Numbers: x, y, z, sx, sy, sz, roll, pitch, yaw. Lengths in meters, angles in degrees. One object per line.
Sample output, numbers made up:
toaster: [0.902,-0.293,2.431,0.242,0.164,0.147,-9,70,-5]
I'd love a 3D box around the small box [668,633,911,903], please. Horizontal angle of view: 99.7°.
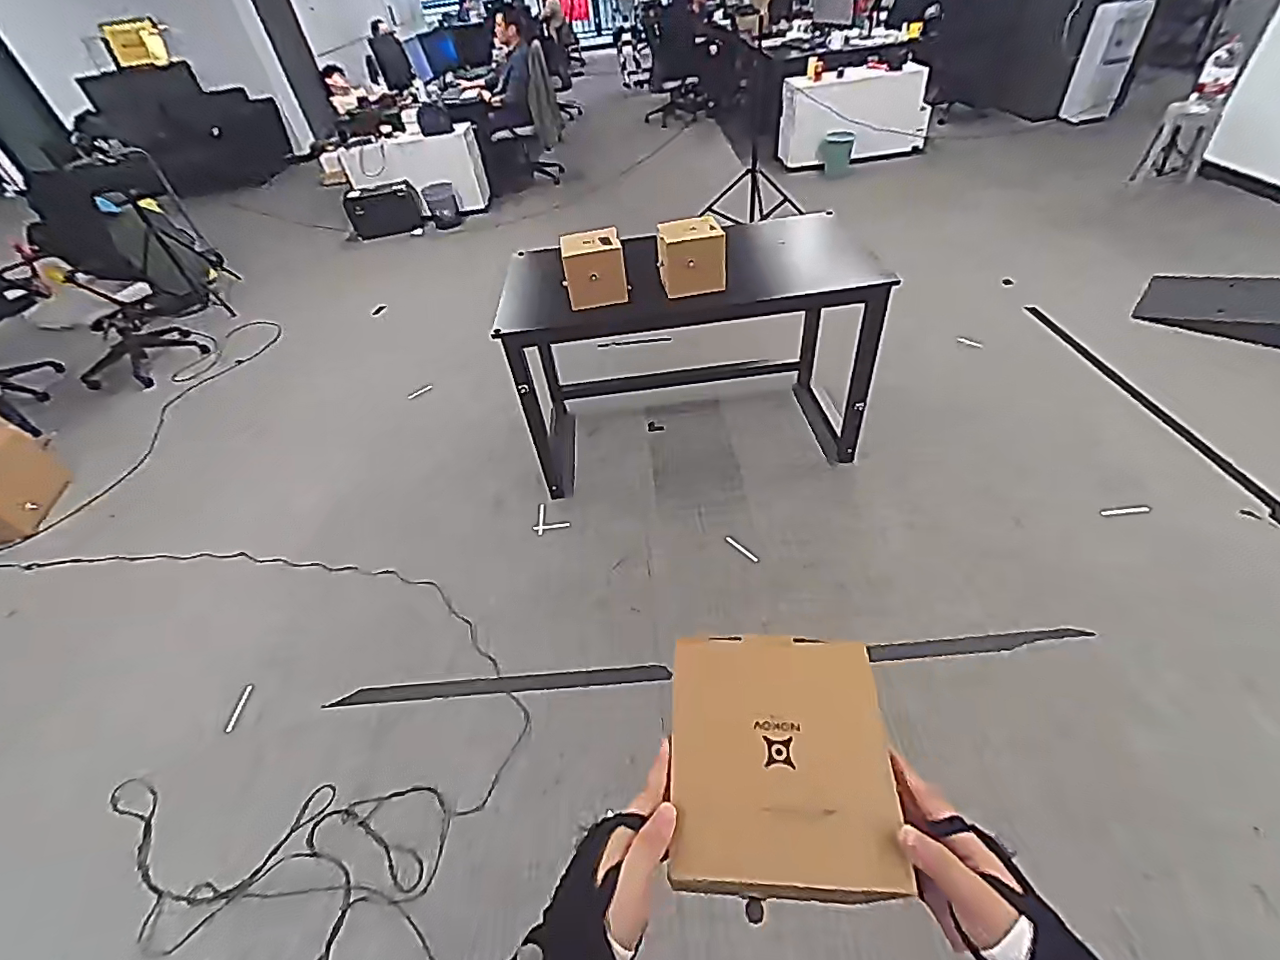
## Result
small box: [0.110,0.255,0.480,0.168,0.176,0.179,0,50,5]

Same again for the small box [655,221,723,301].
small box: [0.151,-0.666,1.652,0.179,0.176,0.168,-10,43,-1]

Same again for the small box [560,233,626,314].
small box: [-0.142,-0.634,1.663,0.179,0.176,0.168,-11,44,-1]
